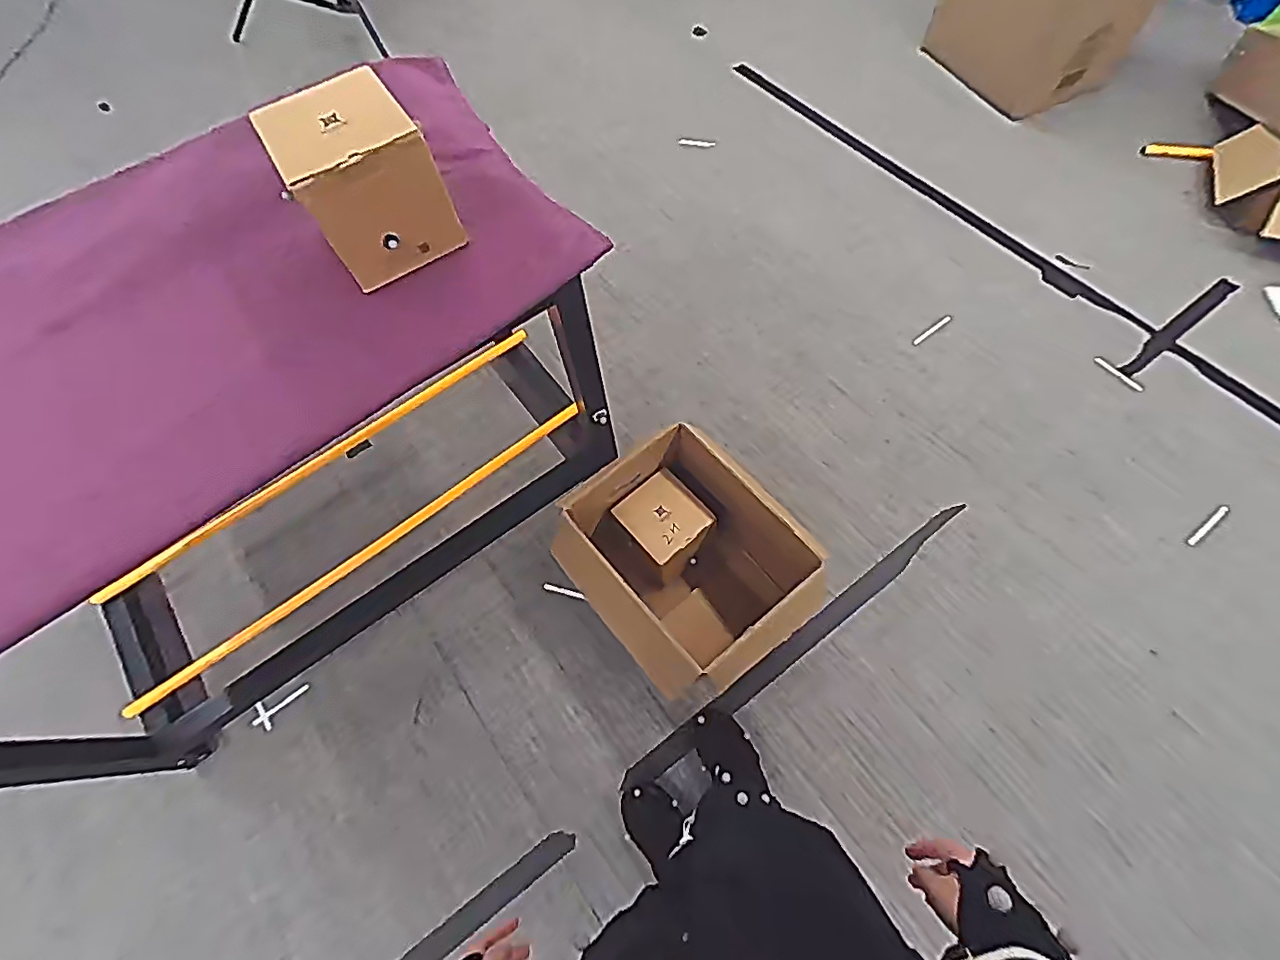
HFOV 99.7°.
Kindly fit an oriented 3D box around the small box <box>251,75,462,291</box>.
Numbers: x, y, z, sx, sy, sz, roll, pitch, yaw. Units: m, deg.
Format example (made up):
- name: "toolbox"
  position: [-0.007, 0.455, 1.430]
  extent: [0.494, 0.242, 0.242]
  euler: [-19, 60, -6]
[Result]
- name: "small box"
  position: [-0.374, -0.396, 0.737]
  extent: [0.168, 0.176, 0.179]
  euler: [-33, 67, -10]
